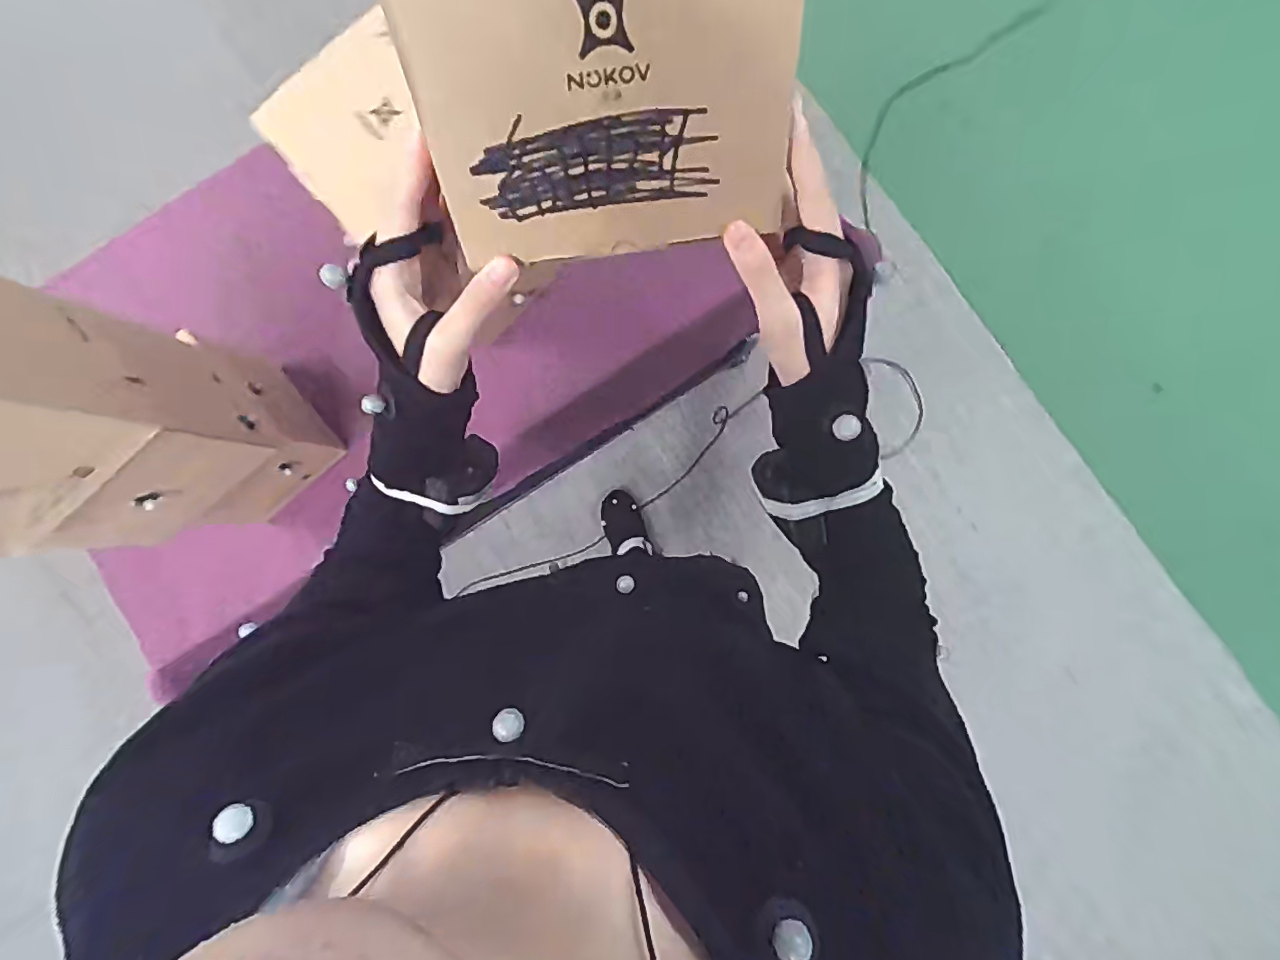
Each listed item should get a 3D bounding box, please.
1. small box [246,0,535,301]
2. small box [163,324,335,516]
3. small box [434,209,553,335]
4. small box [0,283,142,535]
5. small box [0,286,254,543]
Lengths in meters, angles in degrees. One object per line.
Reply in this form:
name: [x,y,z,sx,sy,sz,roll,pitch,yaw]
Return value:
small box: [-0.235,-0.320,0.558,0.179,0.176,0.168,-41,87,0]
small box: [-0.558,-0.069,0.723,0.168,0.176,0.179,-40,86,-1]
small box: [-0.243,-0.325,0.723,0.179,0.176,0.168,44,90,4]
small box: [-0.541,-0.061,0.395,0.168,0.176,0.179,-44,86,-1]
small box: [-0.550,-0.056,0.558,0.179,0.176,0.168,-40,86,-1]
